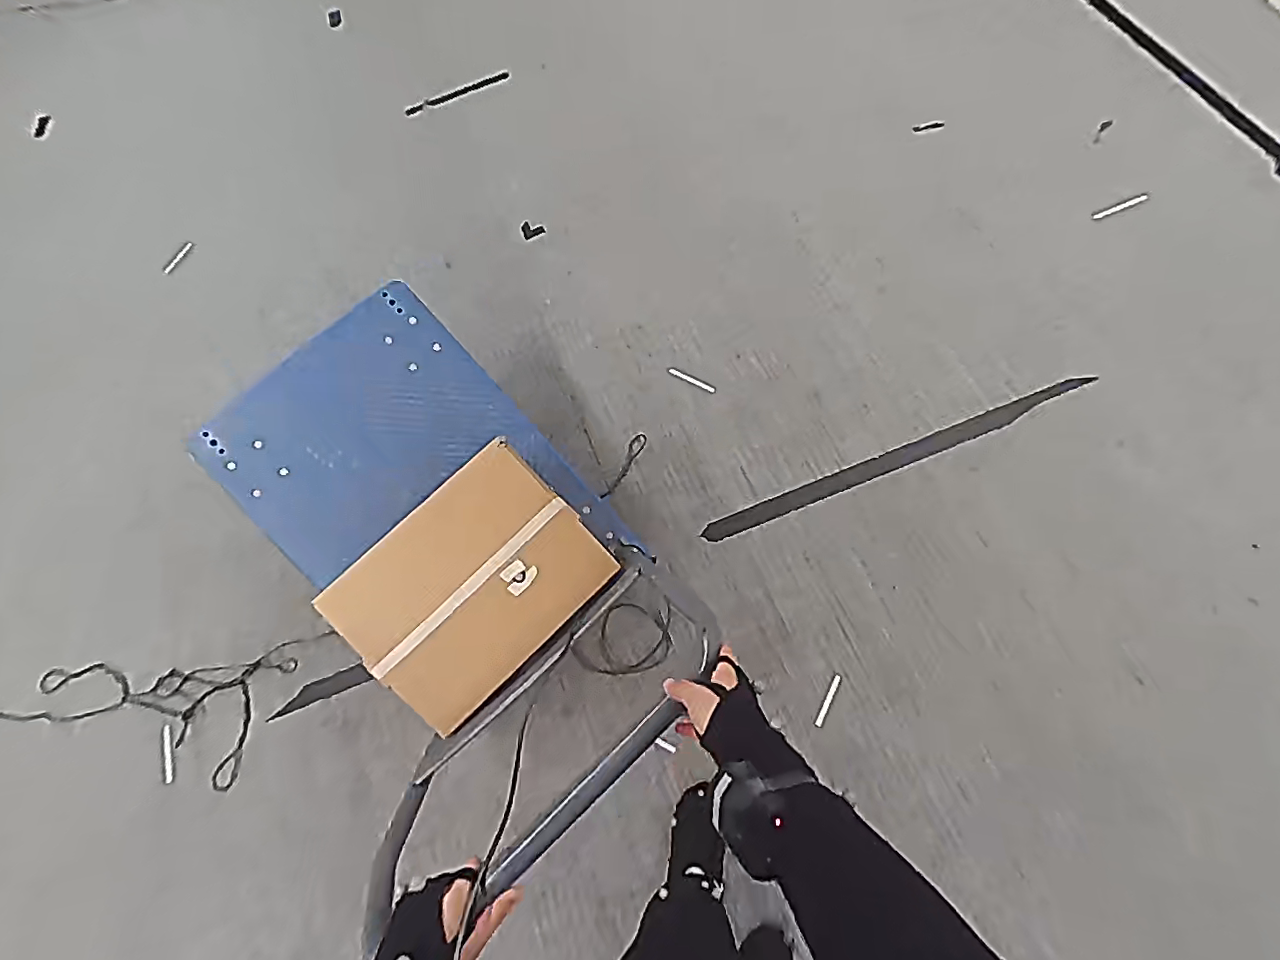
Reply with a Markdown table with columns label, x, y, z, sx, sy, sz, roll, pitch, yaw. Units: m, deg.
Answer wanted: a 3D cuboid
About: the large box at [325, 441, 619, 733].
| label | x | y | z | sx | sy | sz | roll | pitch | yaw |
| --- | --- | --- | --- | --- | --- | --- | --- | --- | --- |
| large box | -0.295 | 0.191 | 1.062 | 0.408 | 0.320 | 0.320 | -44 | 92 | -9 |
